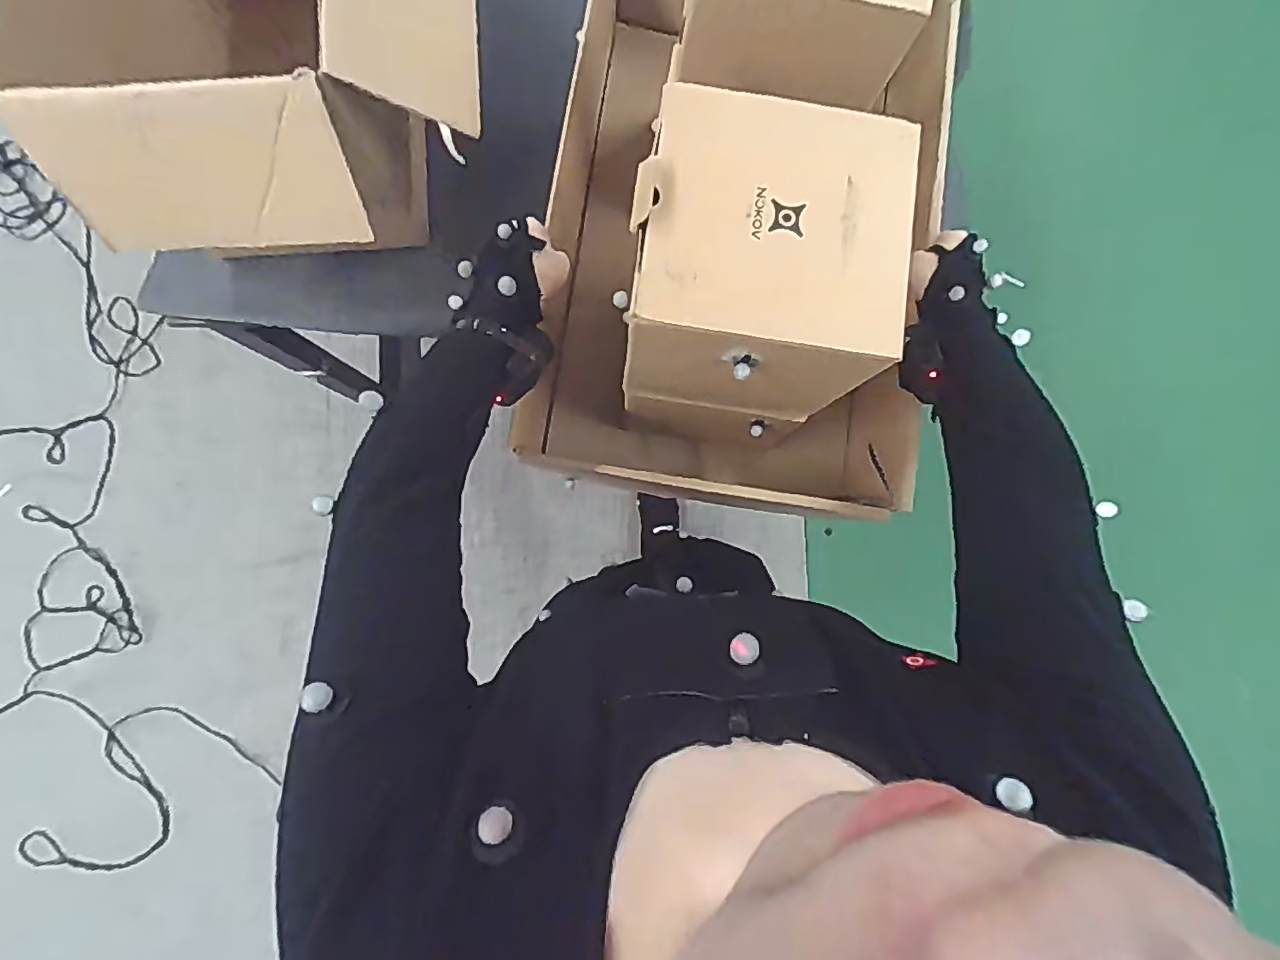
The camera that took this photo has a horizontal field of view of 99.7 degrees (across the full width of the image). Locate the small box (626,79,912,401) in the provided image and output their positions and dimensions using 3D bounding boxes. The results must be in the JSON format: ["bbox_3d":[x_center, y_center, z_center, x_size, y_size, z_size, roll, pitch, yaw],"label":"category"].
[{"bbox_3d":[0.086,-0.169,0.437,0.179,0.176,0.168,8,84,-4],"label":"small box"}]

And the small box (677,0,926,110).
[{"bbox_3d":[0.127,-0.418,0.458,0.168,0.176,0.179,10,87,-3],"label":"small box"}]
